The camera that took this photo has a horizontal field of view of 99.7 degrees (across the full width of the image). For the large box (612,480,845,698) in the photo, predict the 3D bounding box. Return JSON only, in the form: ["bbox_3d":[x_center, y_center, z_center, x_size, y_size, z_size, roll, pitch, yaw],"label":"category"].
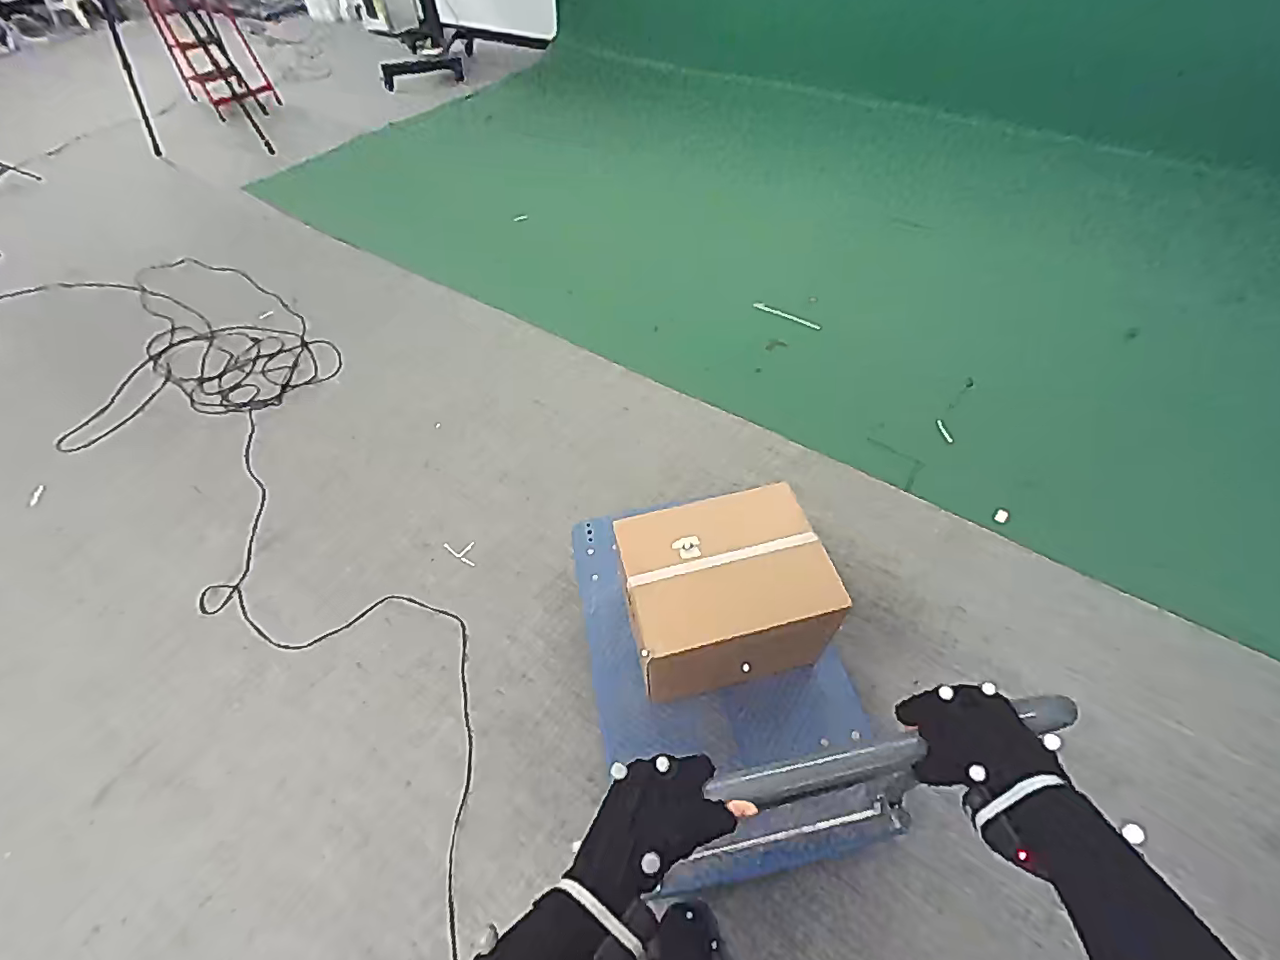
[{"bbox_3d":[0.176,0.250,1.220,0.408,0.320,0.320,-13,53,-7],"label":"large box"}]
